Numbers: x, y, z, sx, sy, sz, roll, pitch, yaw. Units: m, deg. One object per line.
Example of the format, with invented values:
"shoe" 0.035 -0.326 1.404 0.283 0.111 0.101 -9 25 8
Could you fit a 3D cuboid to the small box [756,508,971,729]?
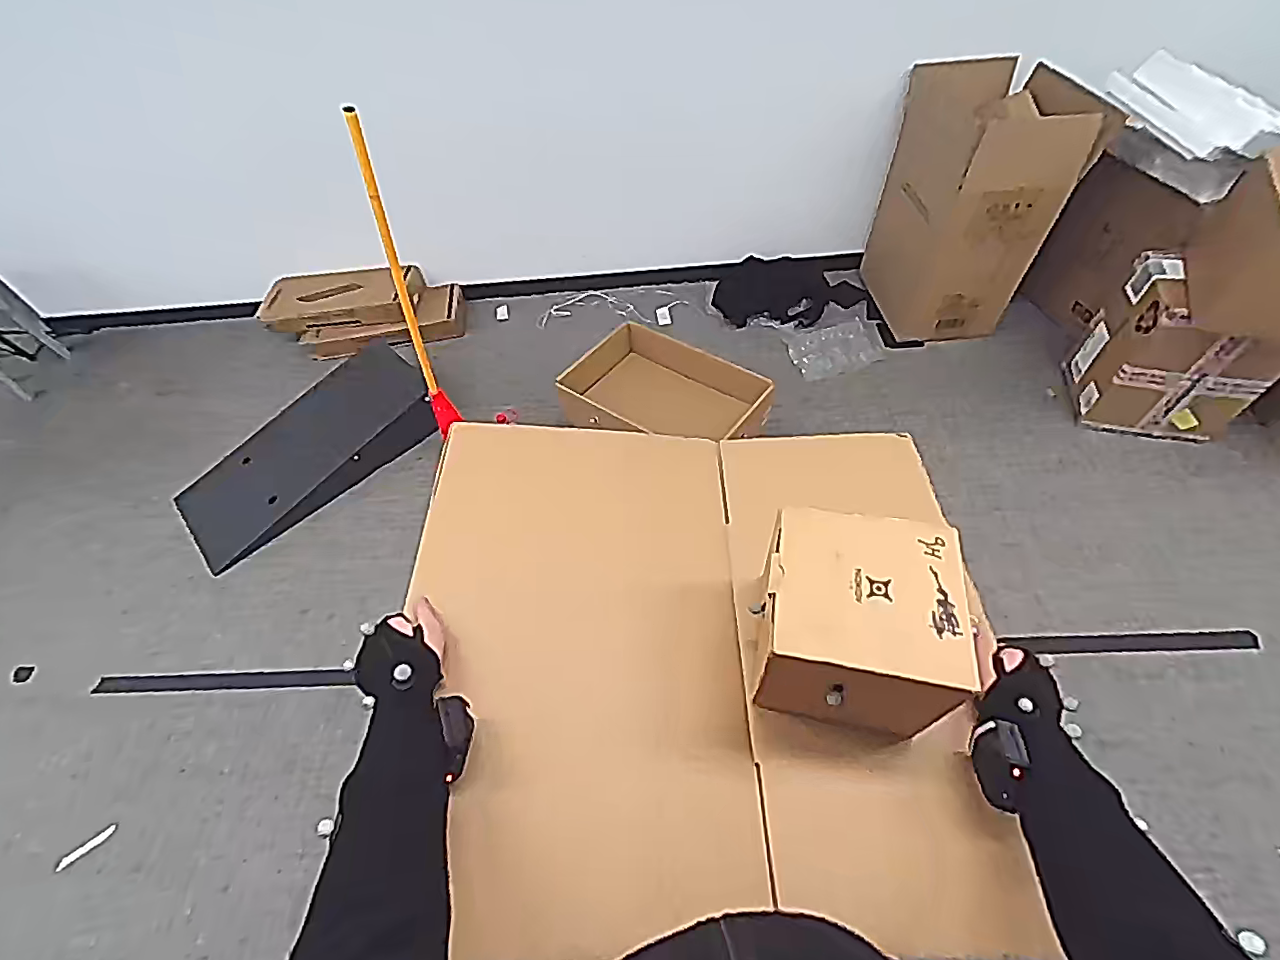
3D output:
"small box" 0.223 0.152 0.584 0.179 0.176 0.168 7 54 12
